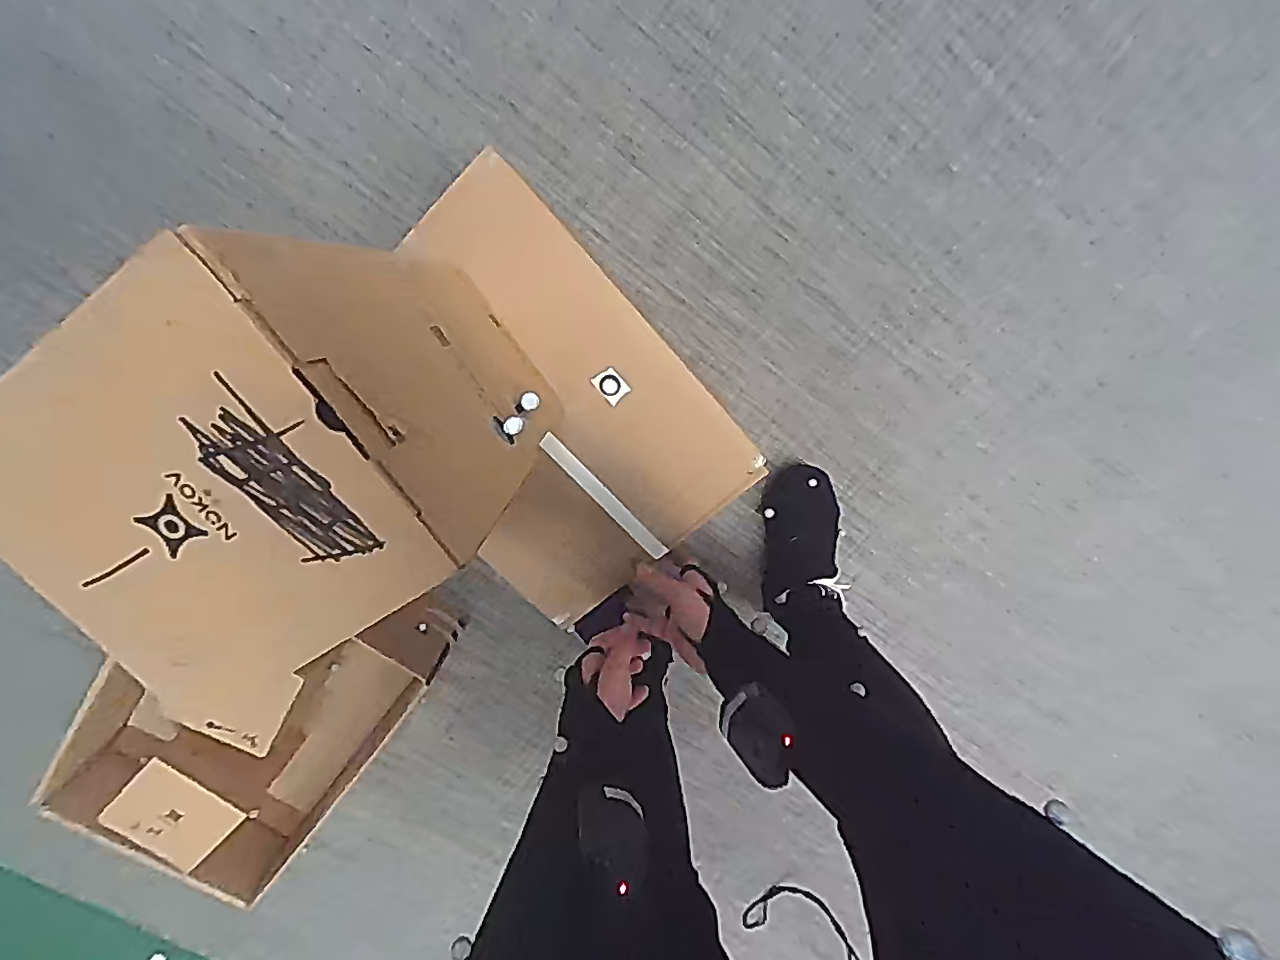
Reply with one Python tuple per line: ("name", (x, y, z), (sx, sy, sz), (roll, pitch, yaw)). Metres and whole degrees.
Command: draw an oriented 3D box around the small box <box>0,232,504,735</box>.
("small box", (-0.196, -0.009, 0.299), (0.179, 0.176, 0.168), (-30, 105, 12))
